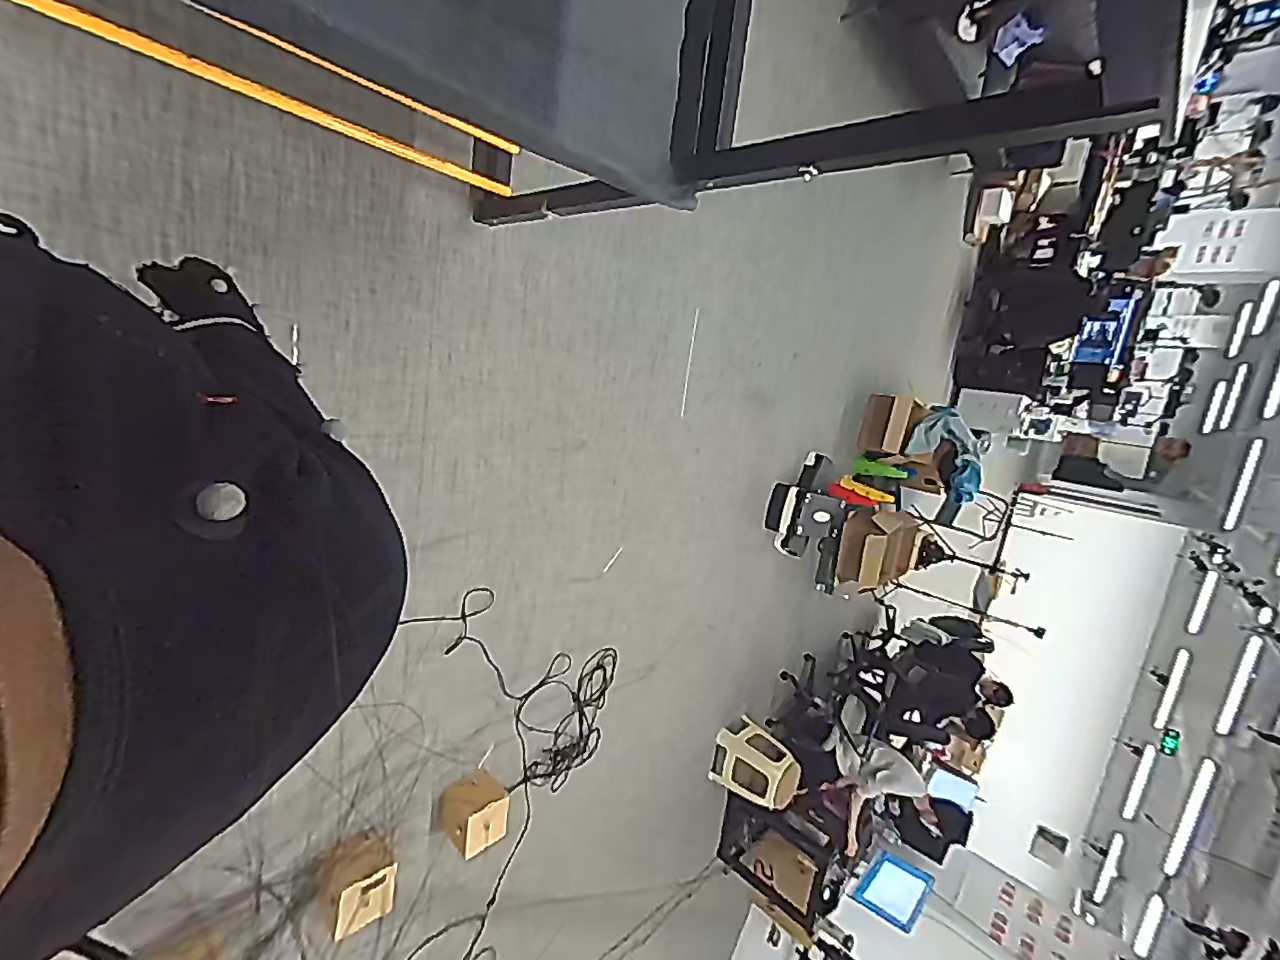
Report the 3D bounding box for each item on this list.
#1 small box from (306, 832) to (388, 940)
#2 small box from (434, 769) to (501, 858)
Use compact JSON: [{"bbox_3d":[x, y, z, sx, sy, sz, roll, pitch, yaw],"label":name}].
[{"bbox_3d":[-0.892,1.215,1.642,0.168,0.176,0.179,3,102,-49],"label":"small box"},{"bbox_3d":[-0.624,1.189,1.942,0.168,0.176,0.179,-5,106,-48],"label":"small box"}]
